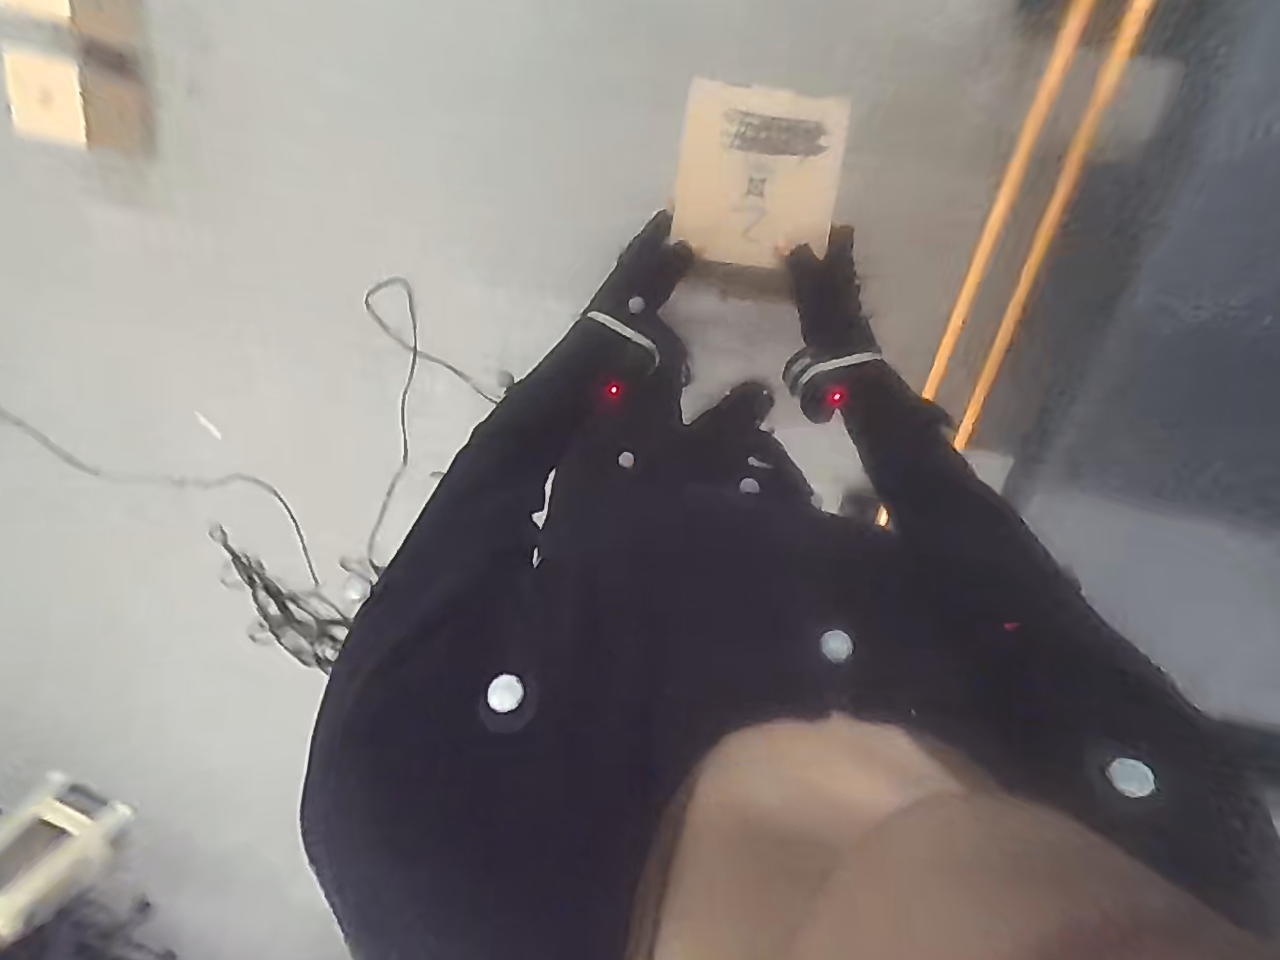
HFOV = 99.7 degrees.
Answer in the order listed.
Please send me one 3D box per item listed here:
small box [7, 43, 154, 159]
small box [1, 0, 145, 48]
[{"bbox_3d":[-1.285,-0.871,1.260,0.179,0.176,0.168,14,110,1],"label":"small box"},{"bbox_3d":[-1.236,-1.084,1.183,0.179,0.176,0.168,12,110,2],"label":"small box"}]
